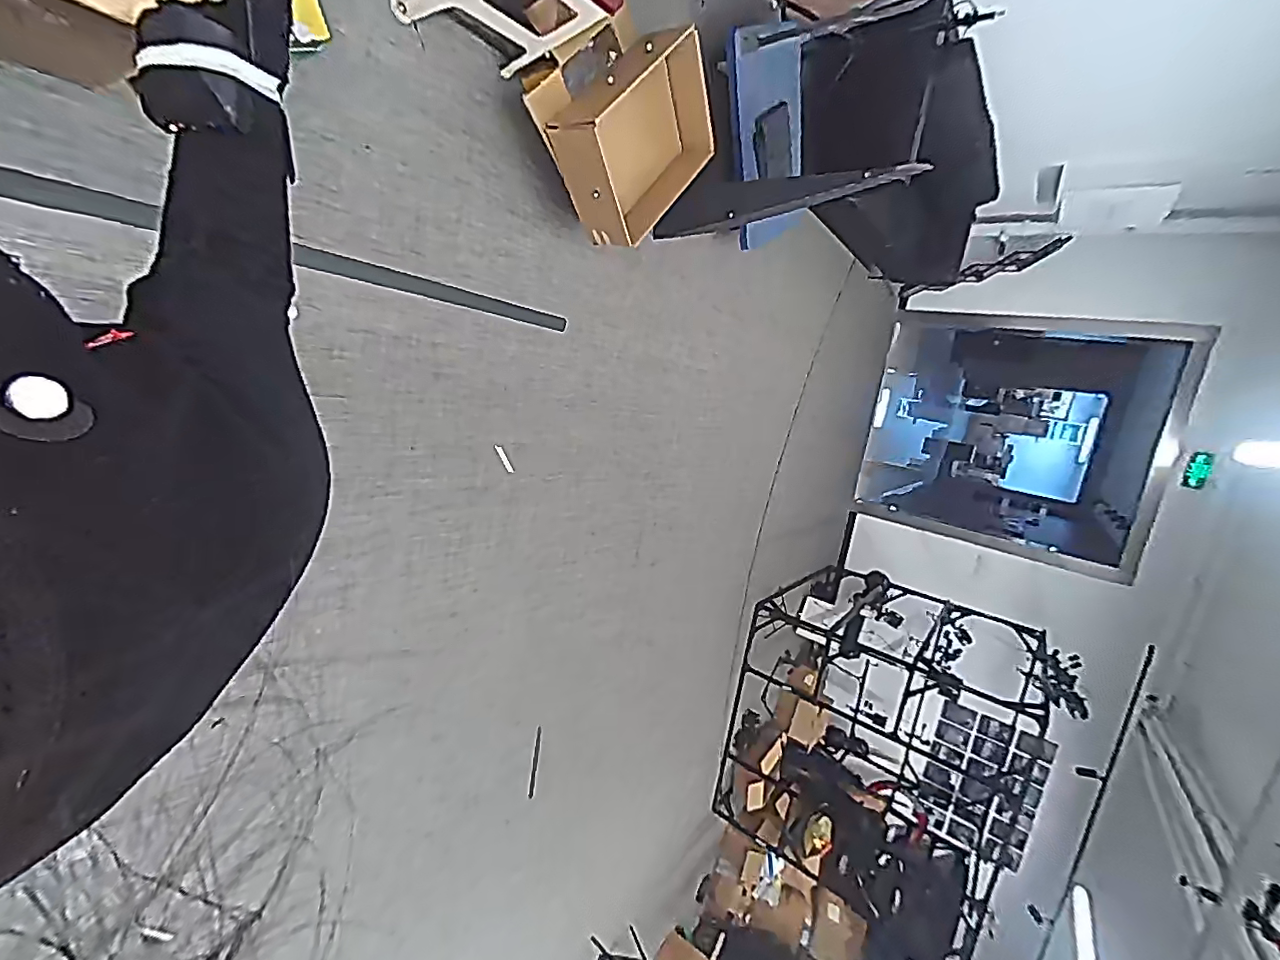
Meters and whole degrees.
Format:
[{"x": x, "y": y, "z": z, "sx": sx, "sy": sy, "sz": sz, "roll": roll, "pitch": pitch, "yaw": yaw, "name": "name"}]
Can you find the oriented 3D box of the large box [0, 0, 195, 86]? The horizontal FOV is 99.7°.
[{"x": -0.522, "y": -0.470, "z": 0.265, "sx": 0.408, "sy": 0.320, "sz": 0.320, "roll": -9, "pitch": 116, "yaw": -54, "name": "large box"}]
